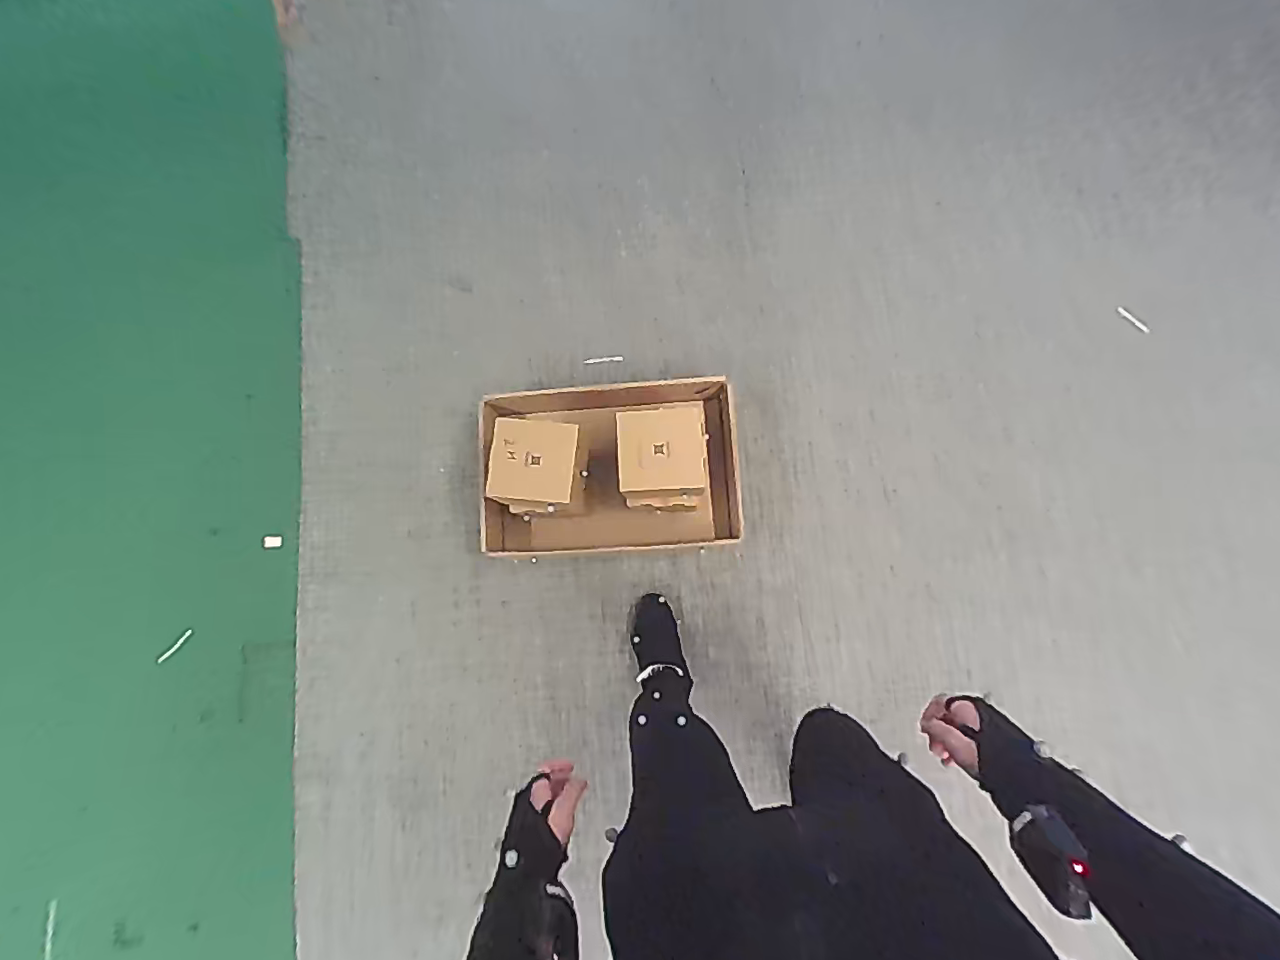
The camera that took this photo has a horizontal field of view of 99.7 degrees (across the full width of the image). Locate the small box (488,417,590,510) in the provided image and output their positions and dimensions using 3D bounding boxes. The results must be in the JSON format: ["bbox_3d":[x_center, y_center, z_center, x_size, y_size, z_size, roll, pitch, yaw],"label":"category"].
[{"bbox_3d":[-0.209,-0.028,1.172,0.179,0.176,0.168,6,81,3],"label":"small box"}]
